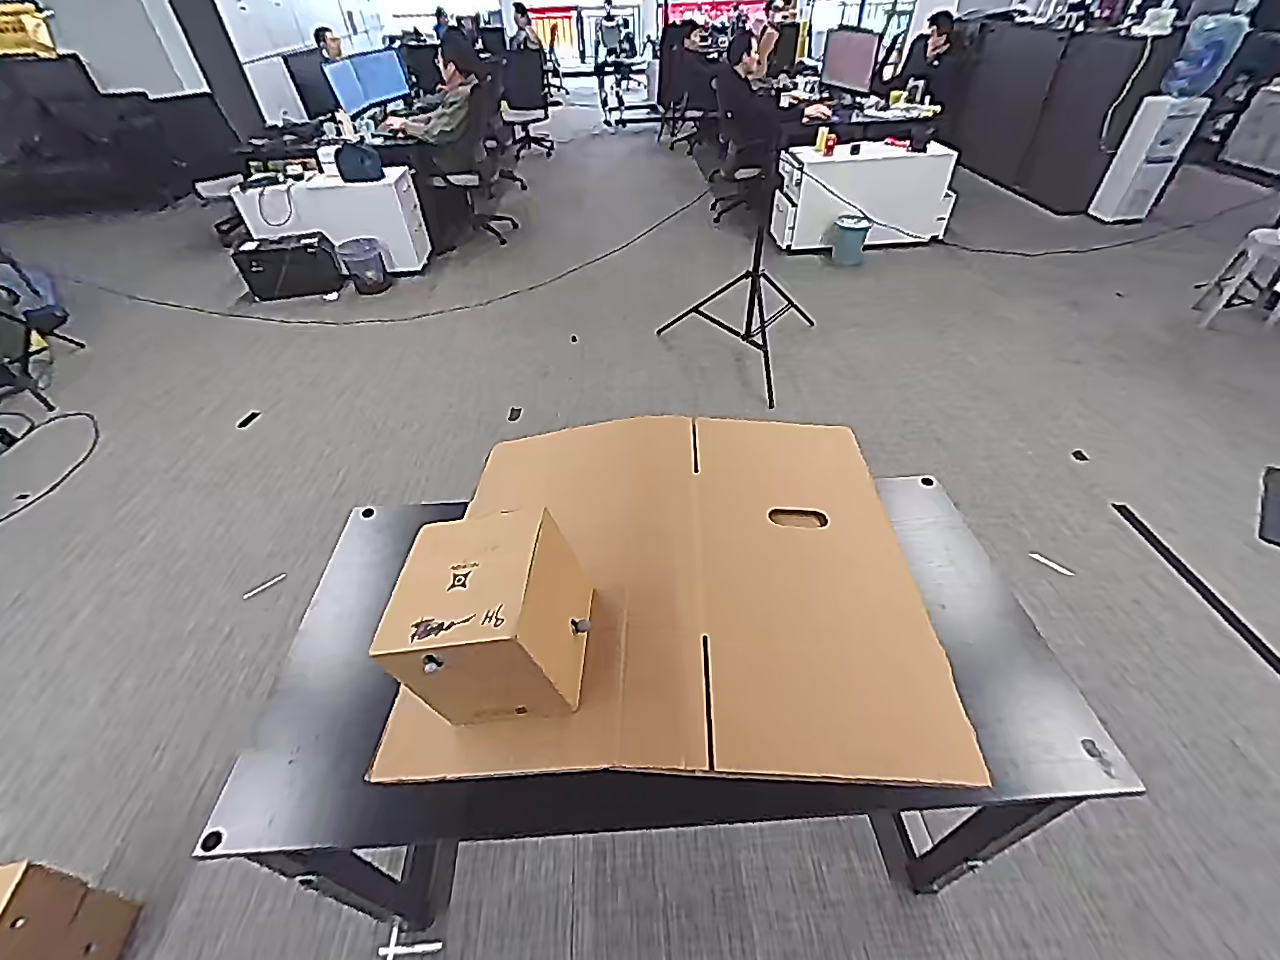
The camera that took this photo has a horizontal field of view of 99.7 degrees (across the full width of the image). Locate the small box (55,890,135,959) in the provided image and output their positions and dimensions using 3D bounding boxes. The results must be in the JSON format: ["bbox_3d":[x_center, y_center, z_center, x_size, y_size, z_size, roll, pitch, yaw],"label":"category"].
[{"bbox_3d":[-1.202,0.975,1.106,0.168,0.176,0.179,-6,43,-4],"label":"small box"}]

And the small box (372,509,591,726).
[{"bbox_3d":[-0.166,0.163,0.636,0.168,0.176,0.179,-11,41,13],"label":"small box"}]

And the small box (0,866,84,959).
[{"bbox_3d":[-1.209,0.852,1.000,0.168,0.176,0.179,-8,42,-7],"label":"small box"}]
